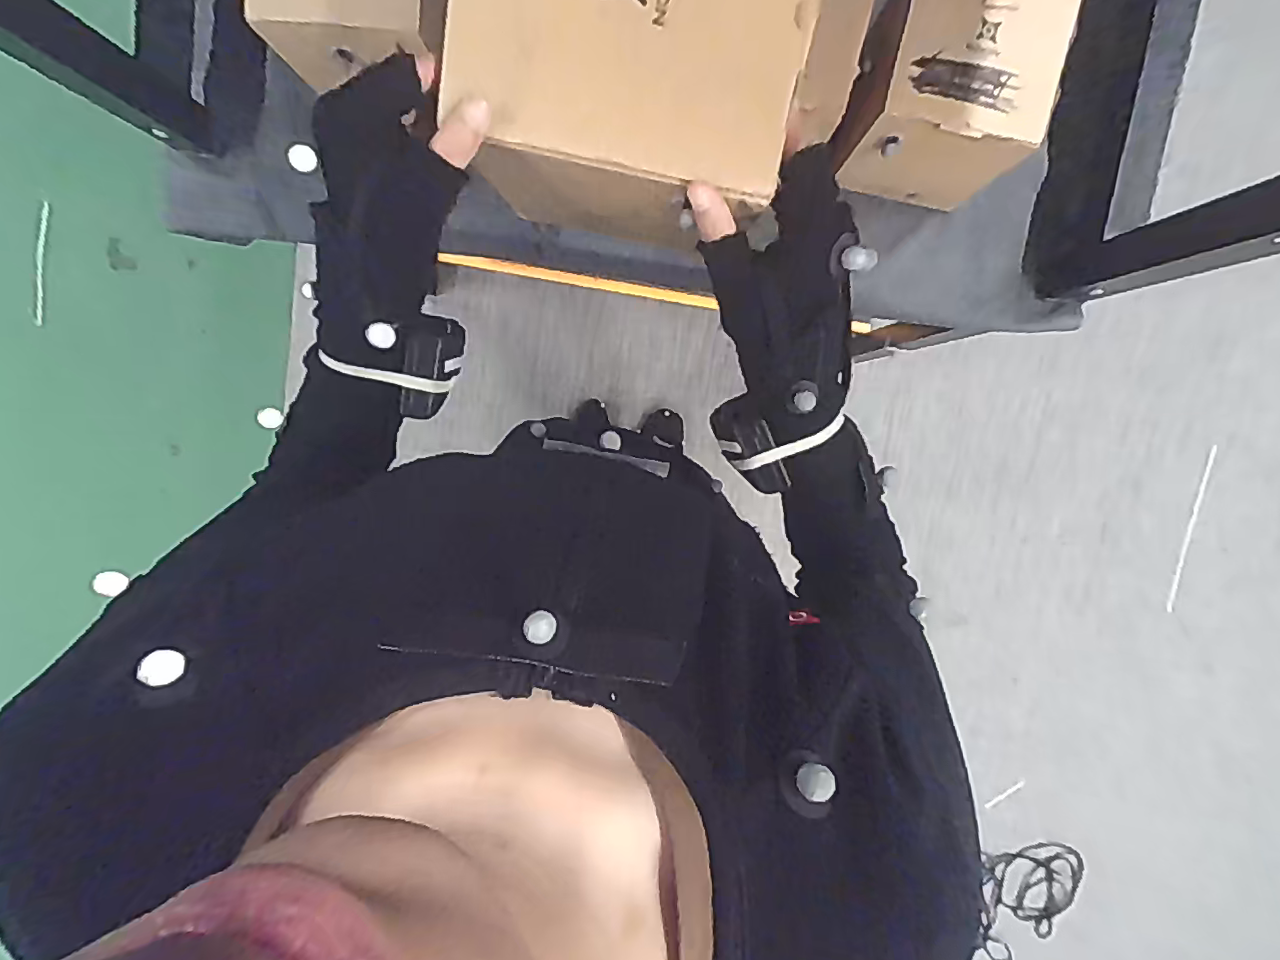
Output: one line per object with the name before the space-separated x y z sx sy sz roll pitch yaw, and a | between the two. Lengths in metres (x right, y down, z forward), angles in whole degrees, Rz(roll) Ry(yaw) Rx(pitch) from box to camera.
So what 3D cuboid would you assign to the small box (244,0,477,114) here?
small box | -0.297 -0.542 0.602 0.179 0.176 0.168 4 98 -1
